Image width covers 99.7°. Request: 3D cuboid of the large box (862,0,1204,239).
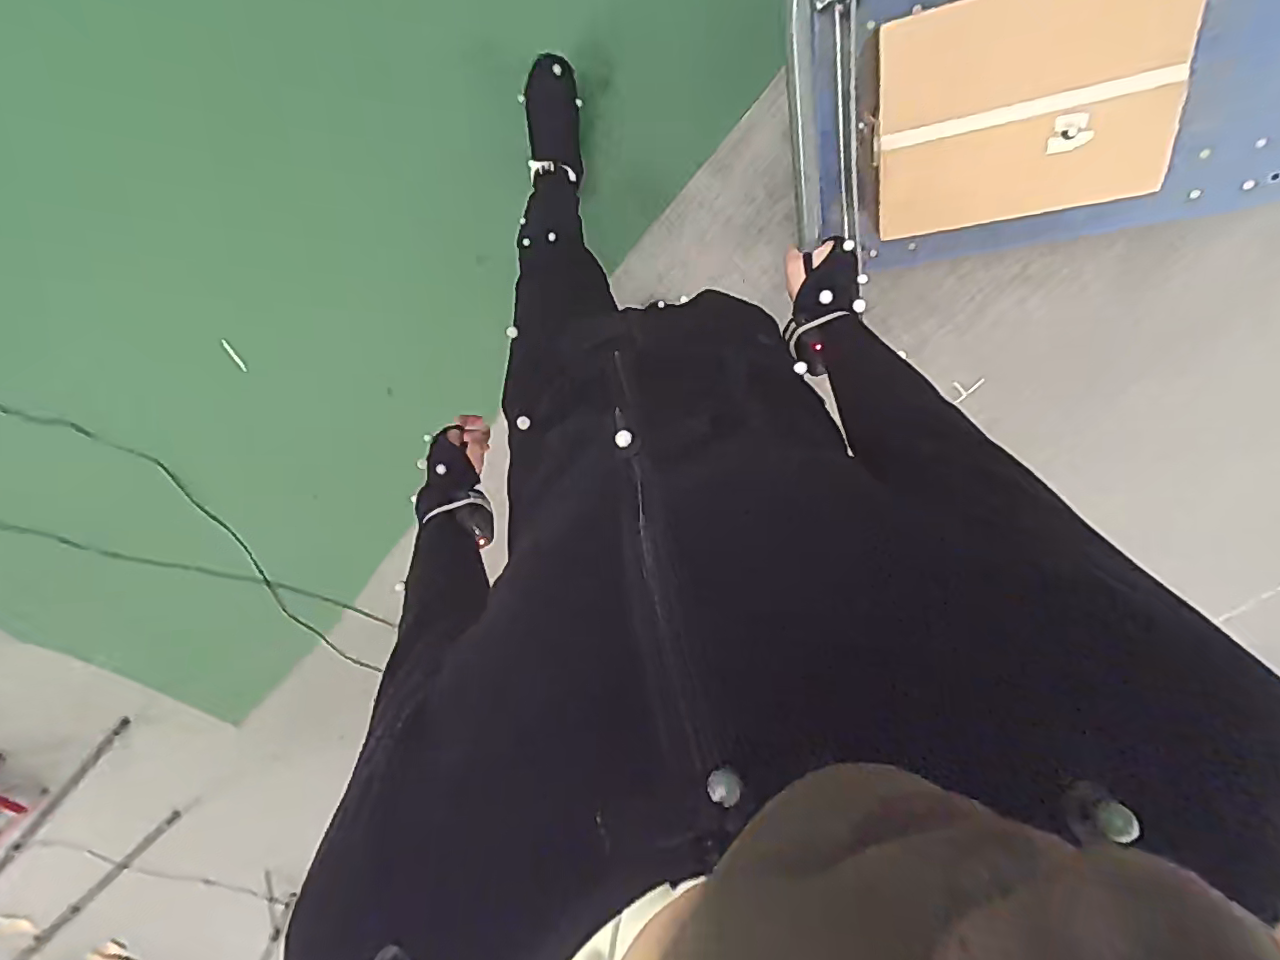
[{"bbox_3d":[0.620,-0.649,0.945,0.408,0.320,0.320,-3,122,19],"label":"large box"}]
